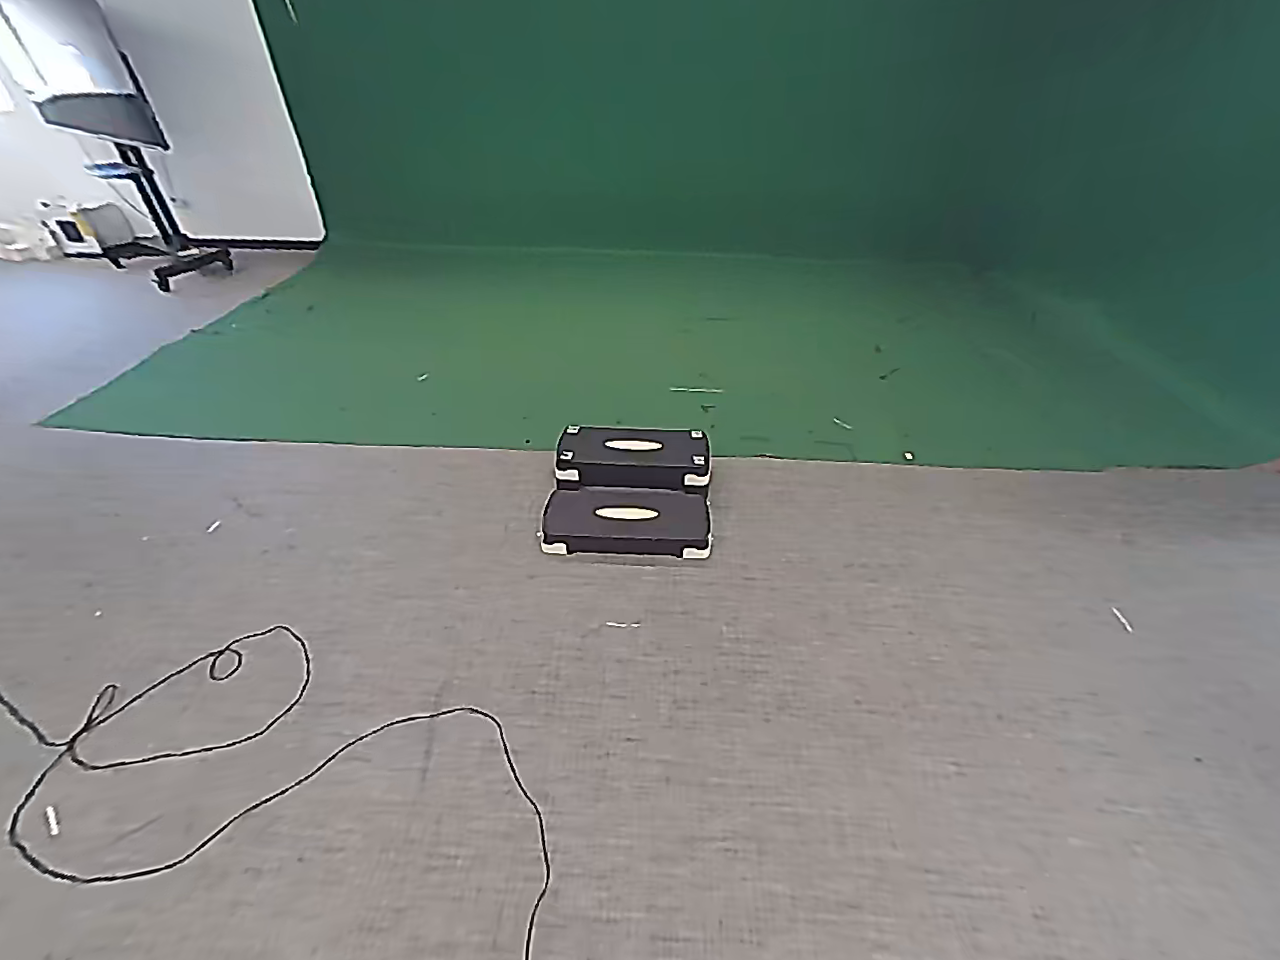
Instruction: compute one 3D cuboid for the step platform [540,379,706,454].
[{"bbox_3d":[-0.068,-0.270,2.303,0.684,0.204,0.286,2,39,2],"label":"step platform"}]
